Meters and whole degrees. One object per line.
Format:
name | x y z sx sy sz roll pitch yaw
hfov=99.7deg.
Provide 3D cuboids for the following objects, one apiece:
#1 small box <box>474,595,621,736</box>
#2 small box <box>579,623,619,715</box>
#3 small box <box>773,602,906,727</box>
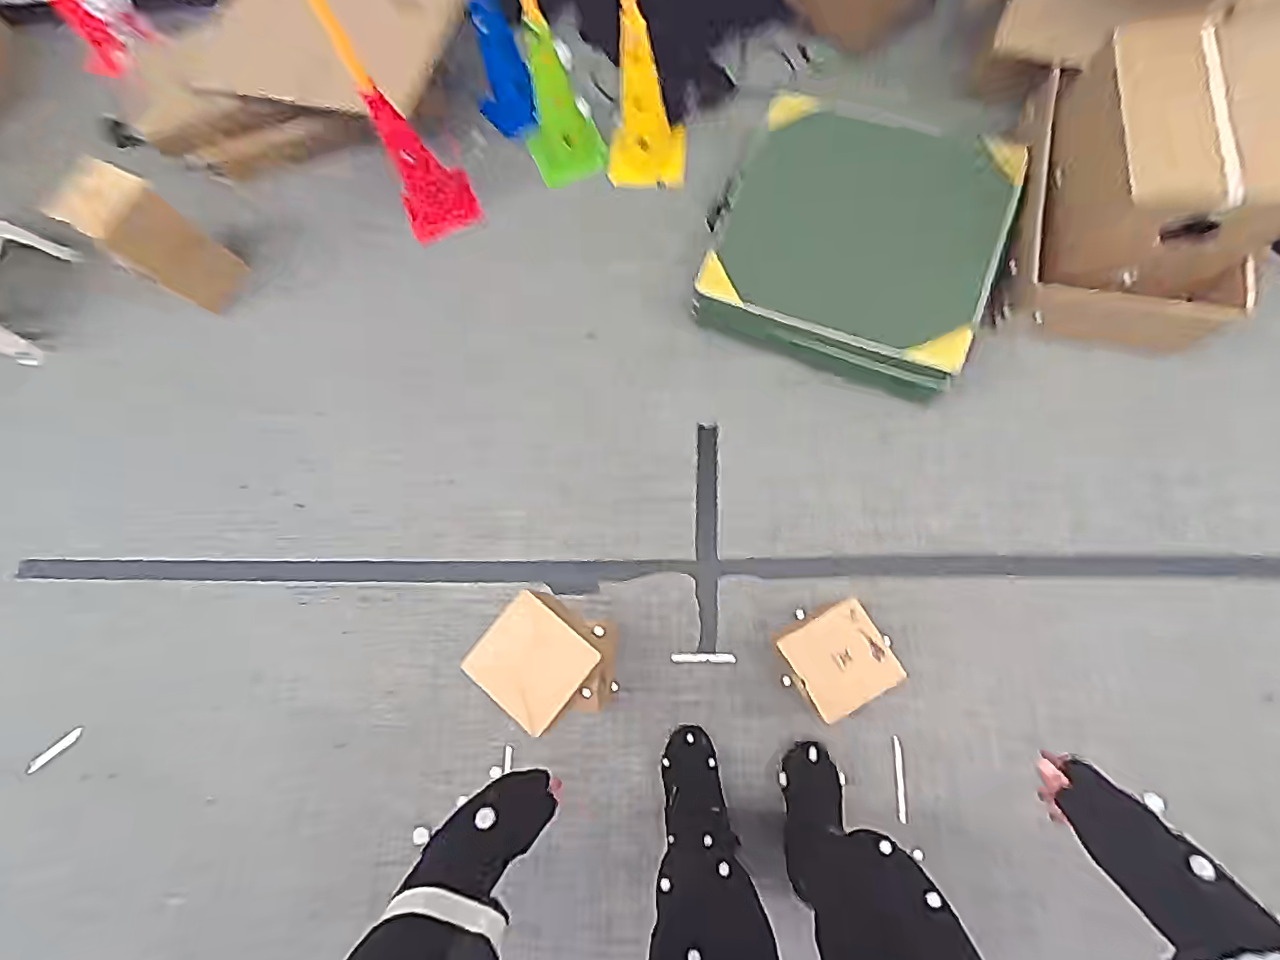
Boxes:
small box | -0.160 0.325 0.965 0.179 0.176 0.168 36 81 15
small box | -0.143 0.382 1.123 0.179 0.176 0.168 2 74 8
small box | 0.380 0.358 1.072 0.179 0.176 0.168 -29 75 -2
